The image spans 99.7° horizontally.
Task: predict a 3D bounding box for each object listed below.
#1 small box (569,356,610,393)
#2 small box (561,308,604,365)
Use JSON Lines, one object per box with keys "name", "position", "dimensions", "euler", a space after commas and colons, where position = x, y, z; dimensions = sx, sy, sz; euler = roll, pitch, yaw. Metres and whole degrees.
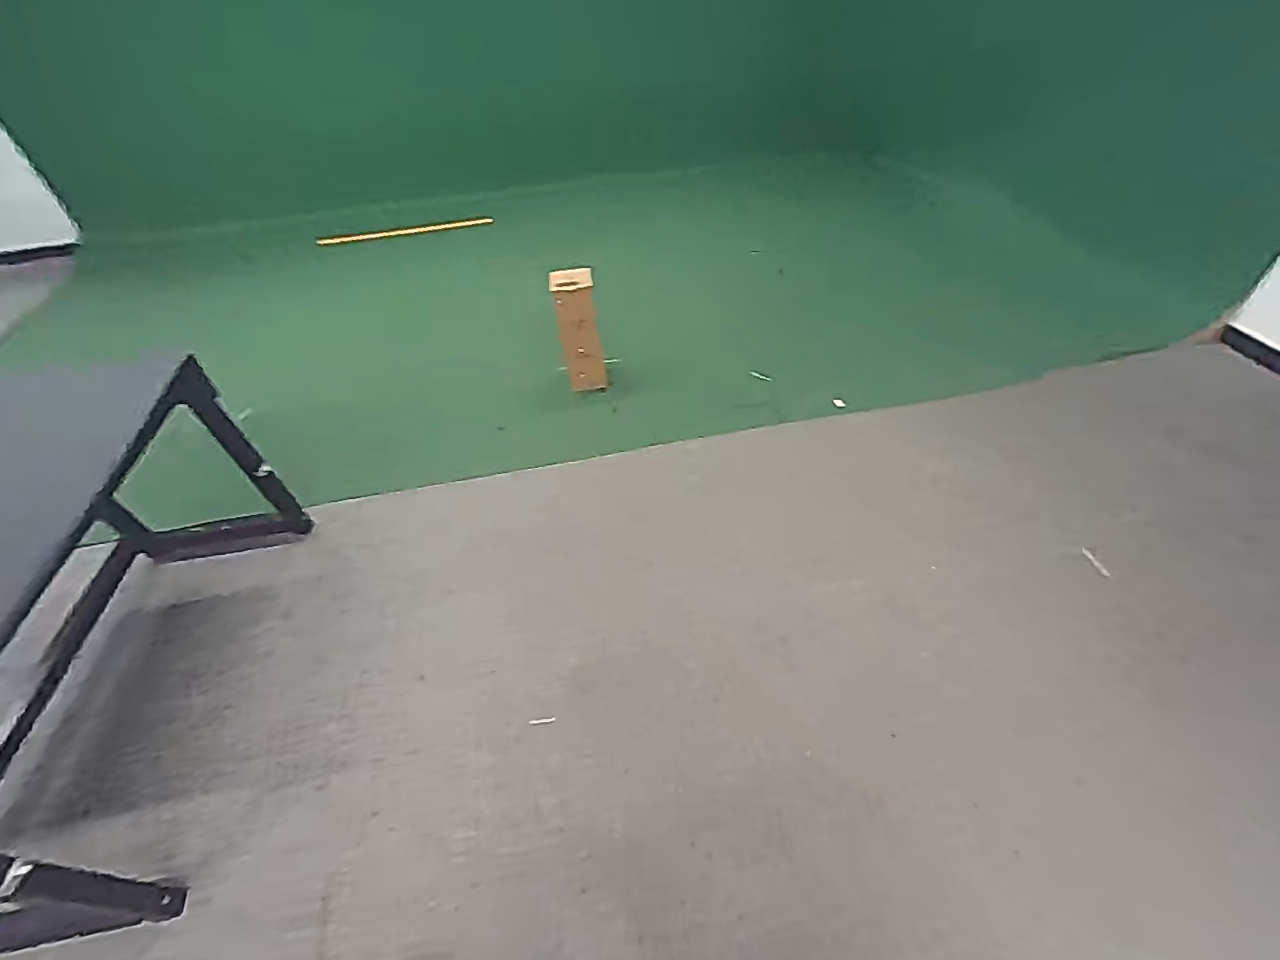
{"name": "small box", "position": [-0.237, -0.517, 2.496], "dimensions": [0.168, 0.176, 0.179], "euler": [-11, 45, -3]}
{"name": "small box", "position": [-0.254, -0.631, 2.378], "dimensions": [0.168, 0.176, 0.179], "euler": [-9, 46, -1]}
